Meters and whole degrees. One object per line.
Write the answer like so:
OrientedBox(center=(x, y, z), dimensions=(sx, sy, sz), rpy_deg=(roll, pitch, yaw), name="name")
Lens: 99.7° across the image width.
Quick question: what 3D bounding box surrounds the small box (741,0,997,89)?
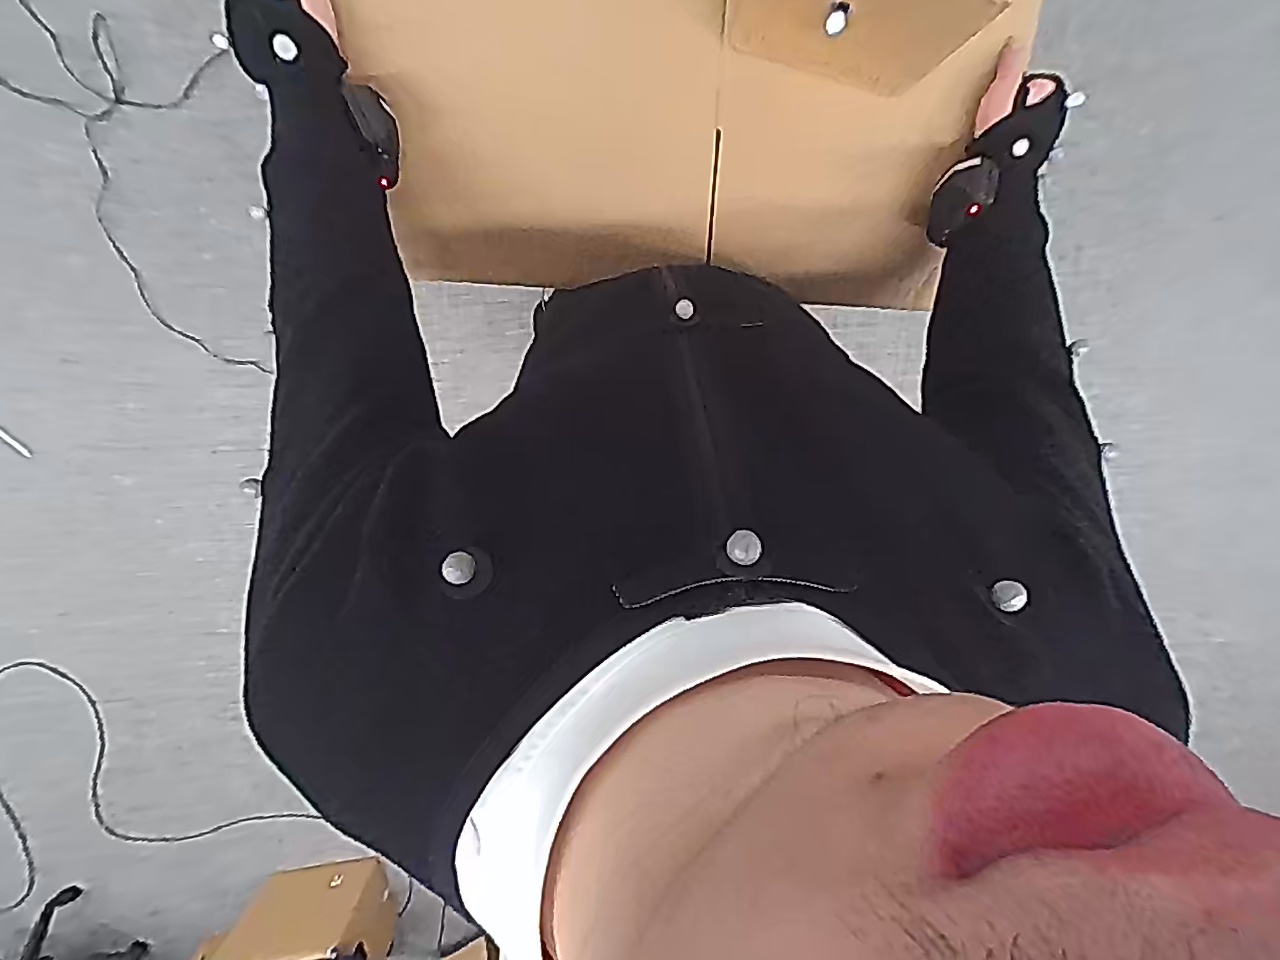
OrientedBox(center=(0.194, -0.453, 0.431), dimensions=(0.179, 0.176, 0.168), rpy_deg=(13, 105, -5), name="small box")
